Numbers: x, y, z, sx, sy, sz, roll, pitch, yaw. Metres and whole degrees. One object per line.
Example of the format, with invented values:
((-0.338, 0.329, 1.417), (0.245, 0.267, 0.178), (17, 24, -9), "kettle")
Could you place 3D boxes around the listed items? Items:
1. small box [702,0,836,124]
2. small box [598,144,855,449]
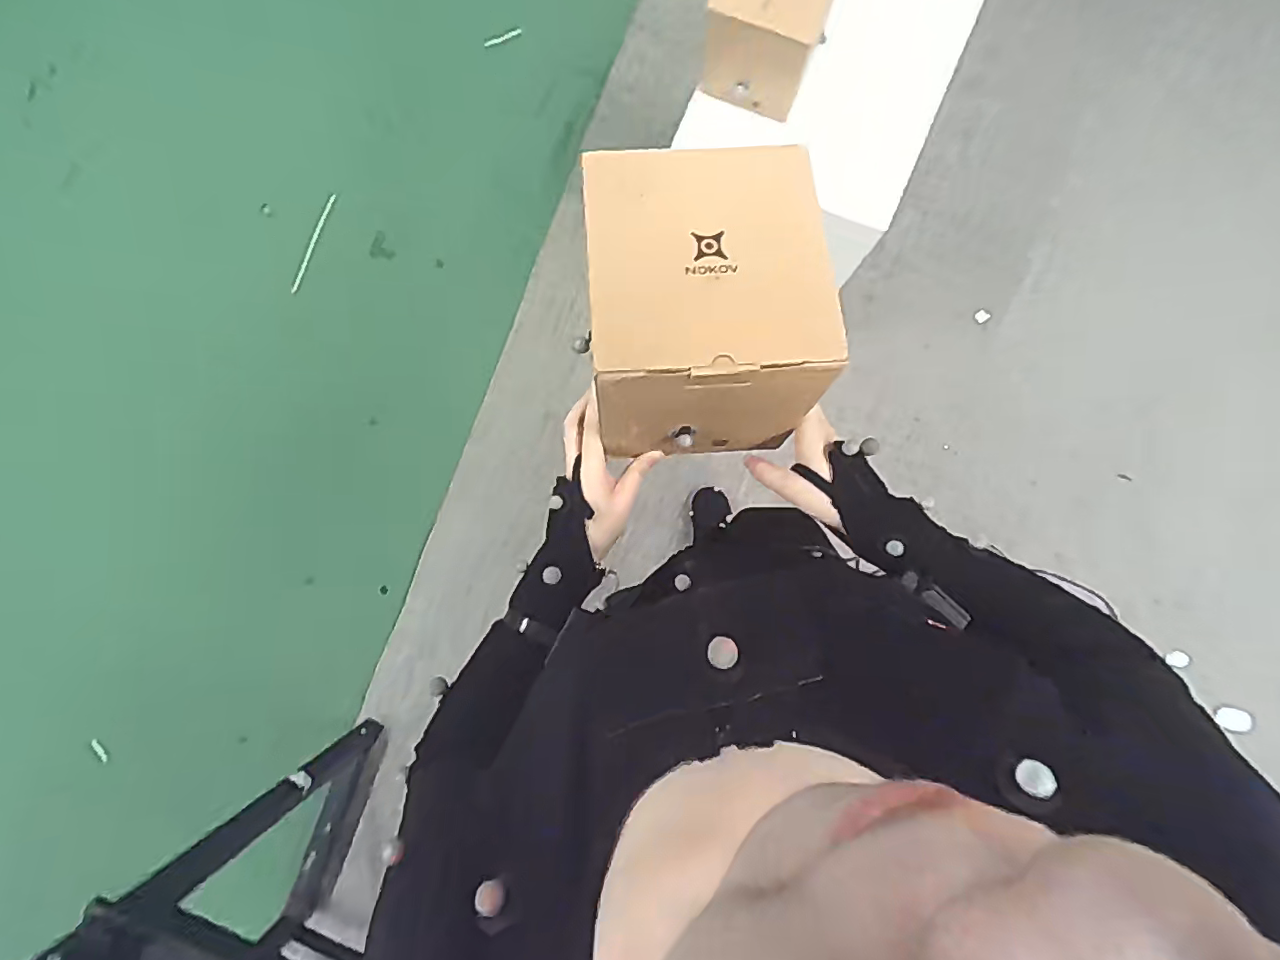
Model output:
((0.204, -0.720, 0.853), (0.168, 0.176, 0.179), (23, 90, 4), "small box")
((0.050, -0.136, 0.442), (0.168, 0.176, 0.179), (-3, 75, -3), "small box")
